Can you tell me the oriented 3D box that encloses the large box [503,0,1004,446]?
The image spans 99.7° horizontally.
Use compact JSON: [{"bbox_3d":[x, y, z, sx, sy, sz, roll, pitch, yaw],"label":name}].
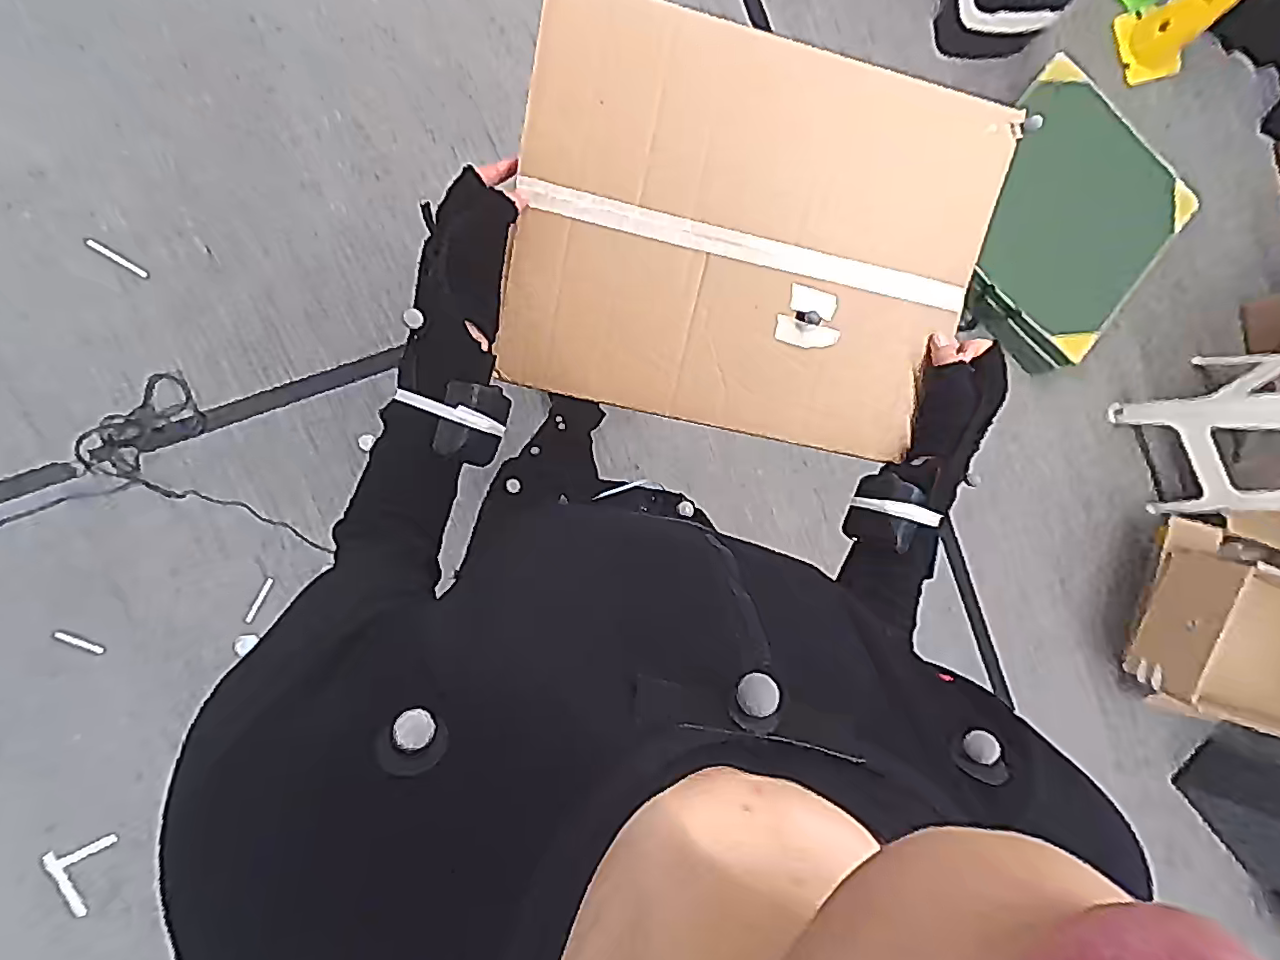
[{"bbox_3d":[0.083,-0.250,0.625,0.408,0.320,0.320,11,105,-8],"label":"large box"}]
